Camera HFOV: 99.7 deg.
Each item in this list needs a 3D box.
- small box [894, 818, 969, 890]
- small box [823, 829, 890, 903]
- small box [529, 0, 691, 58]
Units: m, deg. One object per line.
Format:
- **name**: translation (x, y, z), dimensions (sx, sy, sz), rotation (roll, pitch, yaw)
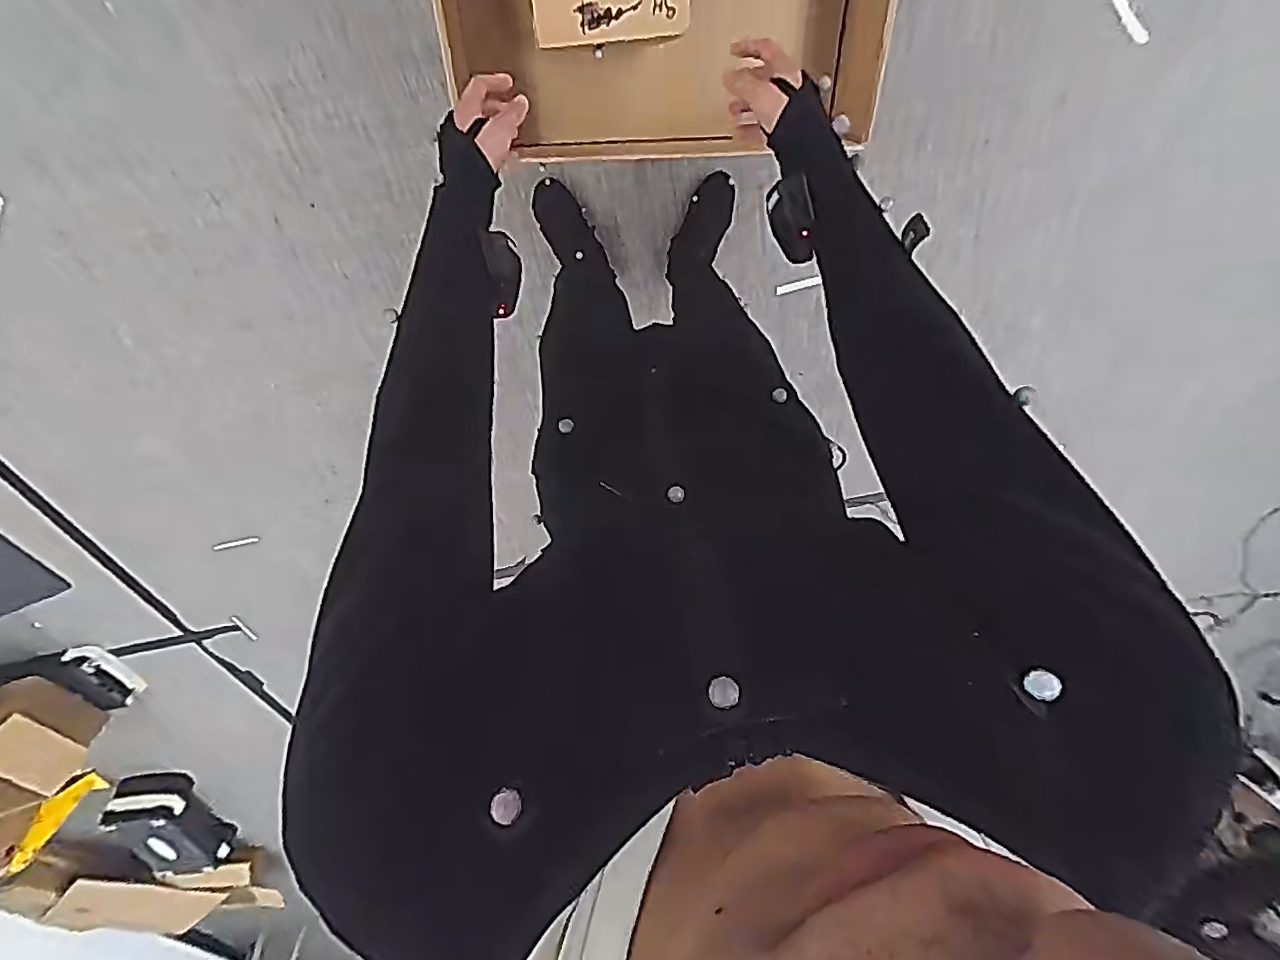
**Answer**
- **small box**: translation (1.082, 1.400, 2.026), dimensions (0.179, 0.176, 0.168), rotation (-8, 127, -2)
- **small box**: translation (0.802, 1.440, 2.021), dimensions (0.179, 0.176, 0.168), rotation (-10, 127, -1)
- **small box**: translation (-0.044, -0.580, 0.585), dimensions (0.168, 0.176, 0.179), rotation (-9, 126, -4)
